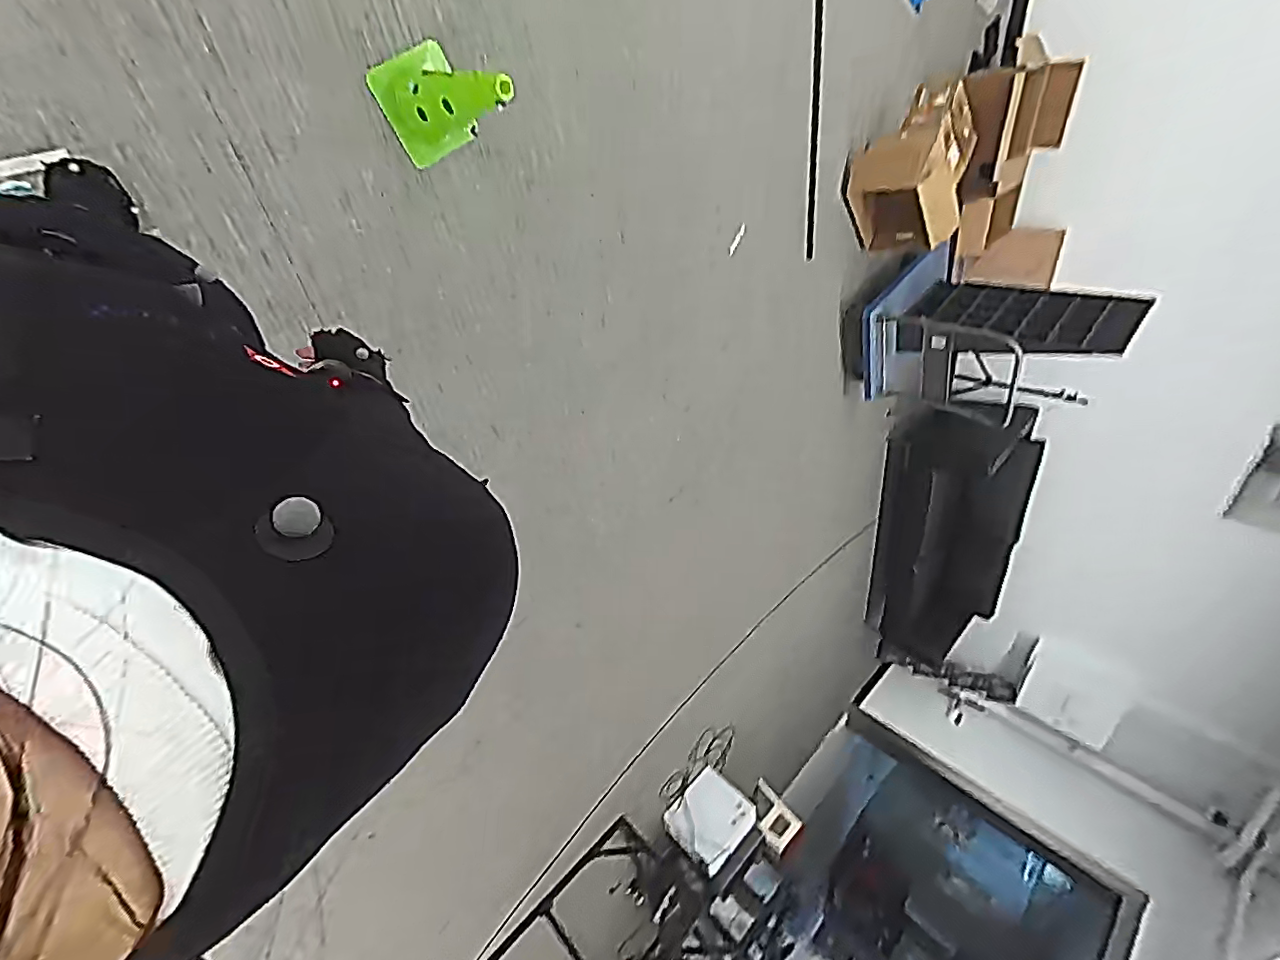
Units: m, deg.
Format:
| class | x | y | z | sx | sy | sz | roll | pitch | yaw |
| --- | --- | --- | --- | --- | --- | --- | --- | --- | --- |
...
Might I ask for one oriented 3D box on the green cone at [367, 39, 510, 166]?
| class | x | y | z | sx | sy | sz | roll | pitch | yaw |
| --- | --- | --- | --- | --- | --- | --- | --- | --- | --- |
| green cone | -0.378 | -0.805 | 1.130 | 0.202 | 0.368 | 0.200 | -45 | 136 | -18 |
